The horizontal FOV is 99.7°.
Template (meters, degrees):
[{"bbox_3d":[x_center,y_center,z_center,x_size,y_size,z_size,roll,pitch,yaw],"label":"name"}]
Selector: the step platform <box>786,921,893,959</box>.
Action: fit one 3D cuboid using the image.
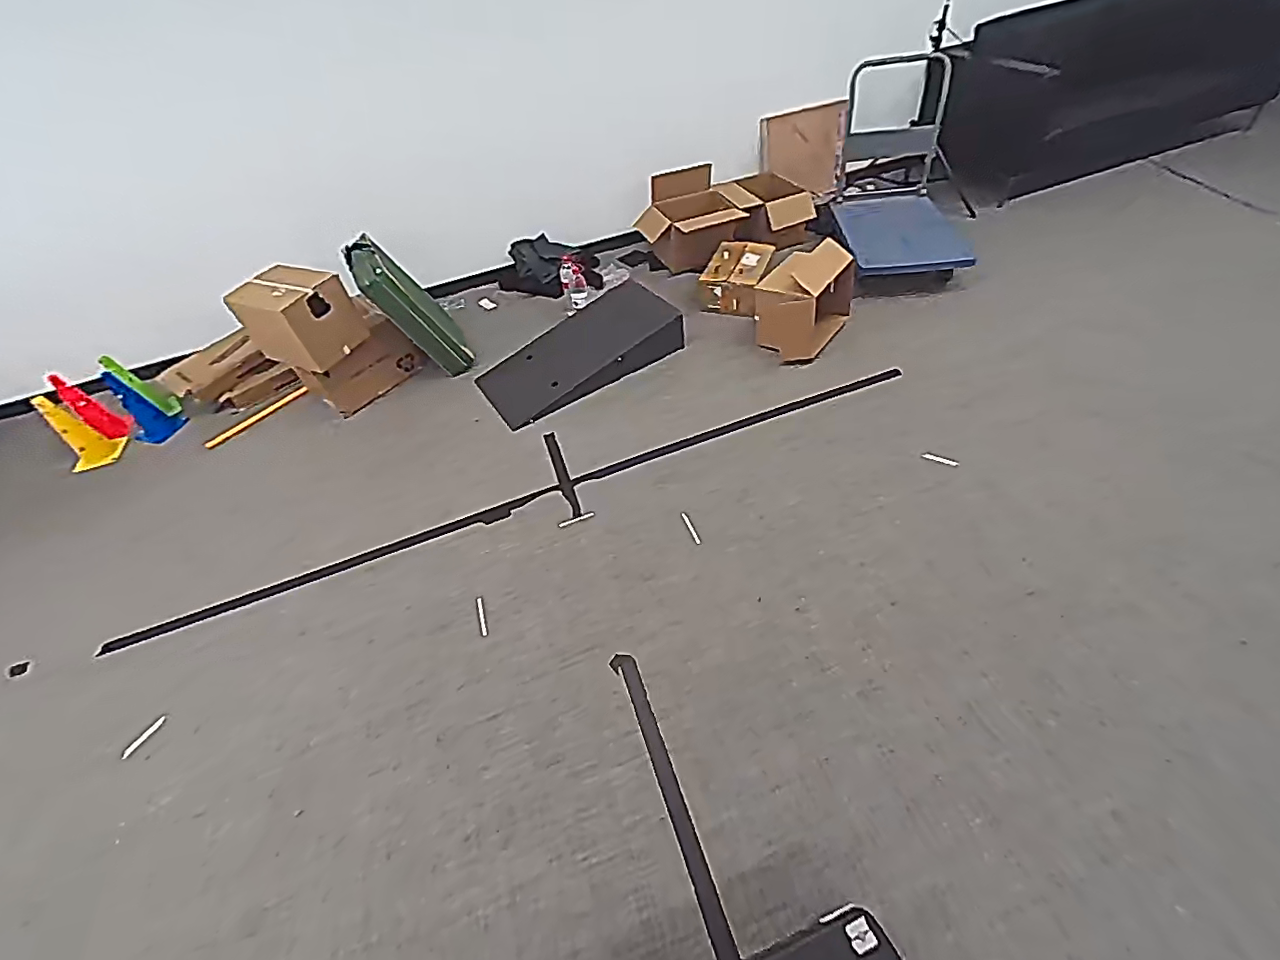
[{"bbox_3d":[0.221,1.140,1.014,0.684,0.204,0.286,-19,49,-10],"label":"step platform"}]
